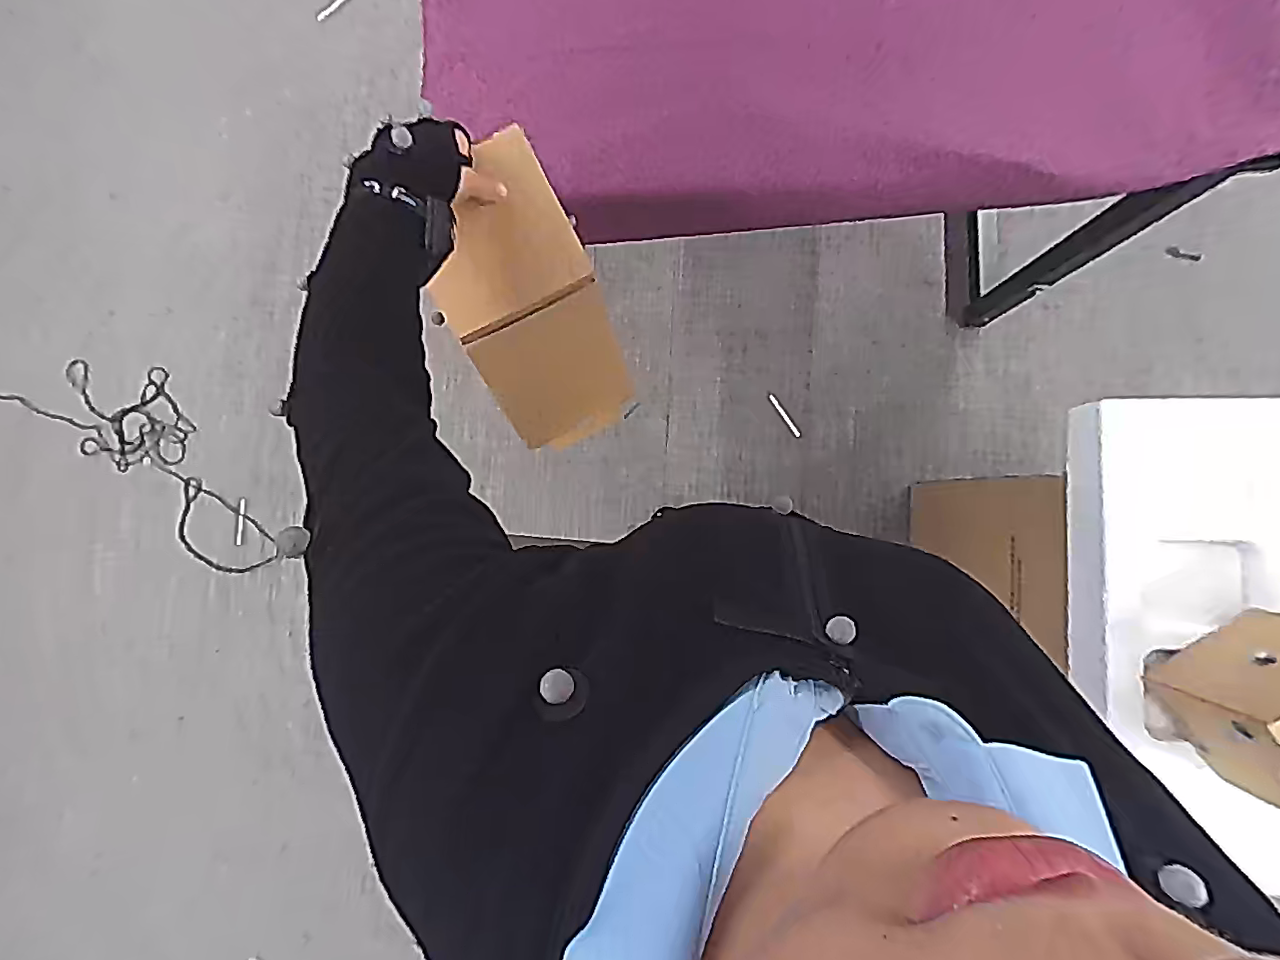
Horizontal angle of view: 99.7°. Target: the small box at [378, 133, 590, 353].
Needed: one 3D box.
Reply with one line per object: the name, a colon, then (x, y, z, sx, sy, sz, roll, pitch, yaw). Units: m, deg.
small box: (-0.174, -0.263, 0.652, 0.168, 0.176, 0.179, -28, 101, -6)
